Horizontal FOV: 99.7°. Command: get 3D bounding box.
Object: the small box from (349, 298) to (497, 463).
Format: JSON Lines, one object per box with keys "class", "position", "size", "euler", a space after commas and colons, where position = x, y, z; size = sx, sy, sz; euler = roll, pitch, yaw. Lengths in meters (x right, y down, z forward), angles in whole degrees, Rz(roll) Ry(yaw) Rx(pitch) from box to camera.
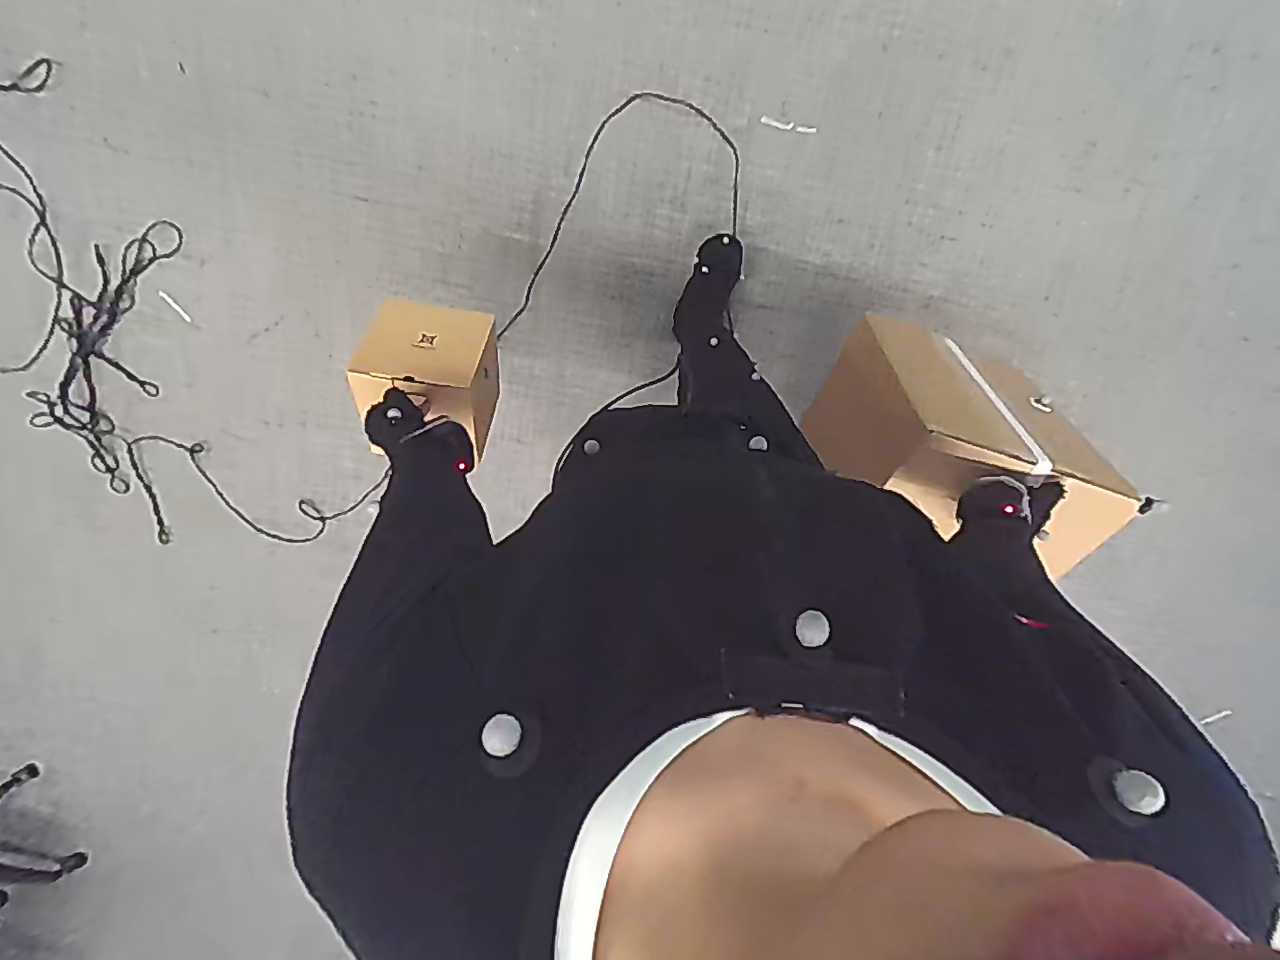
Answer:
{"class": "small box", "position": [-0.323, -0.153, 0.849], "size": [0.168, 0.179, 0.176], "euler": [7, 141, -6]}
